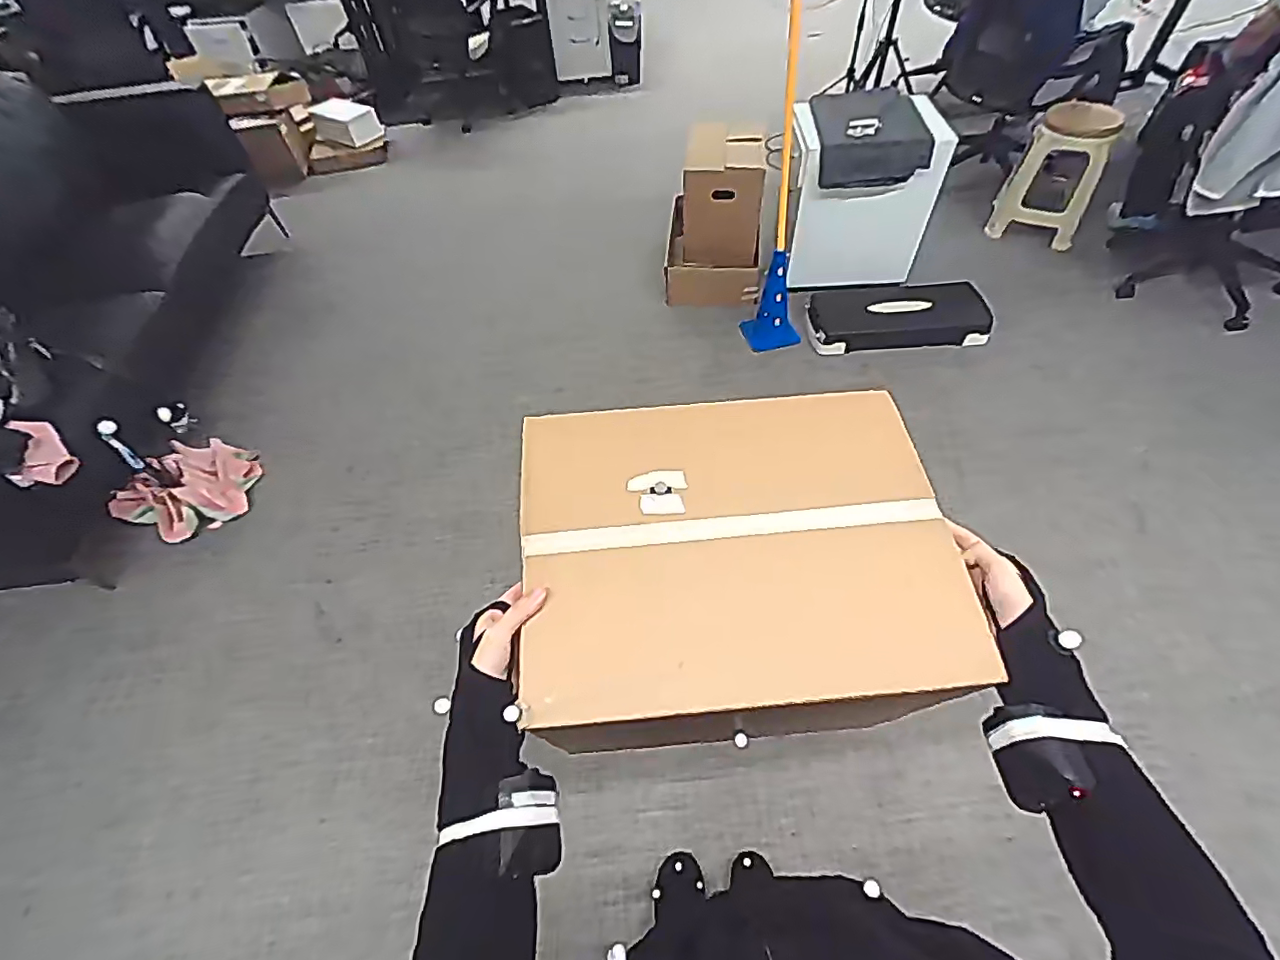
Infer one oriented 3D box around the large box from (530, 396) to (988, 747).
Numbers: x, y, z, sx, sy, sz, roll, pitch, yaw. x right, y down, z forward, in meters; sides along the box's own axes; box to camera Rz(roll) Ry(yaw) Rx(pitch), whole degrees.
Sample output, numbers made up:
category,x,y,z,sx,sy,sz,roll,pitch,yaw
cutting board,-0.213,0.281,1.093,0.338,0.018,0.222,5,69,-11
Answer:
category,x,y,z,sx,sy,sz,roll,pitch,yaw
large box,0.097,0.130,0.661,0.408,0.320,0.320,-6,59,-1
